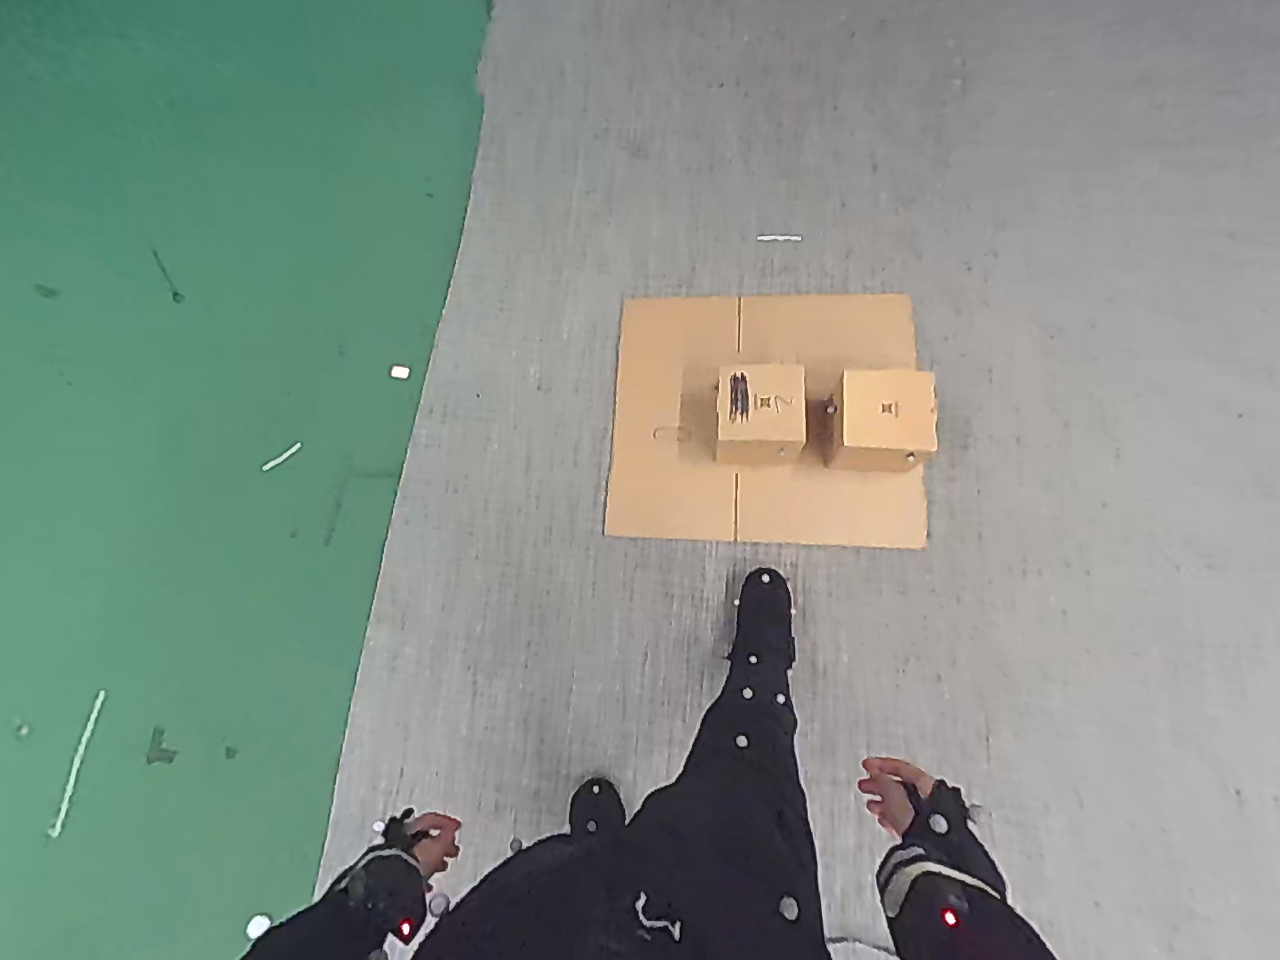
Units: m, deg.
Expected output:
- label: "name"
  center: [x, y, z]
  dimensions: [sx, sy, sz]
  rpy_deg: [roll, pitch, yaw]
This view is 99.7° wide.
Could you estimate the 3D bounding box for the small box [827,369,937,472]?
- label: "small box"
  center: [0.494, -0.119, 1.129]
  dimensions: [0.179, 0.176, 0.168]
  rpy_deg: [3, 76, 8]
